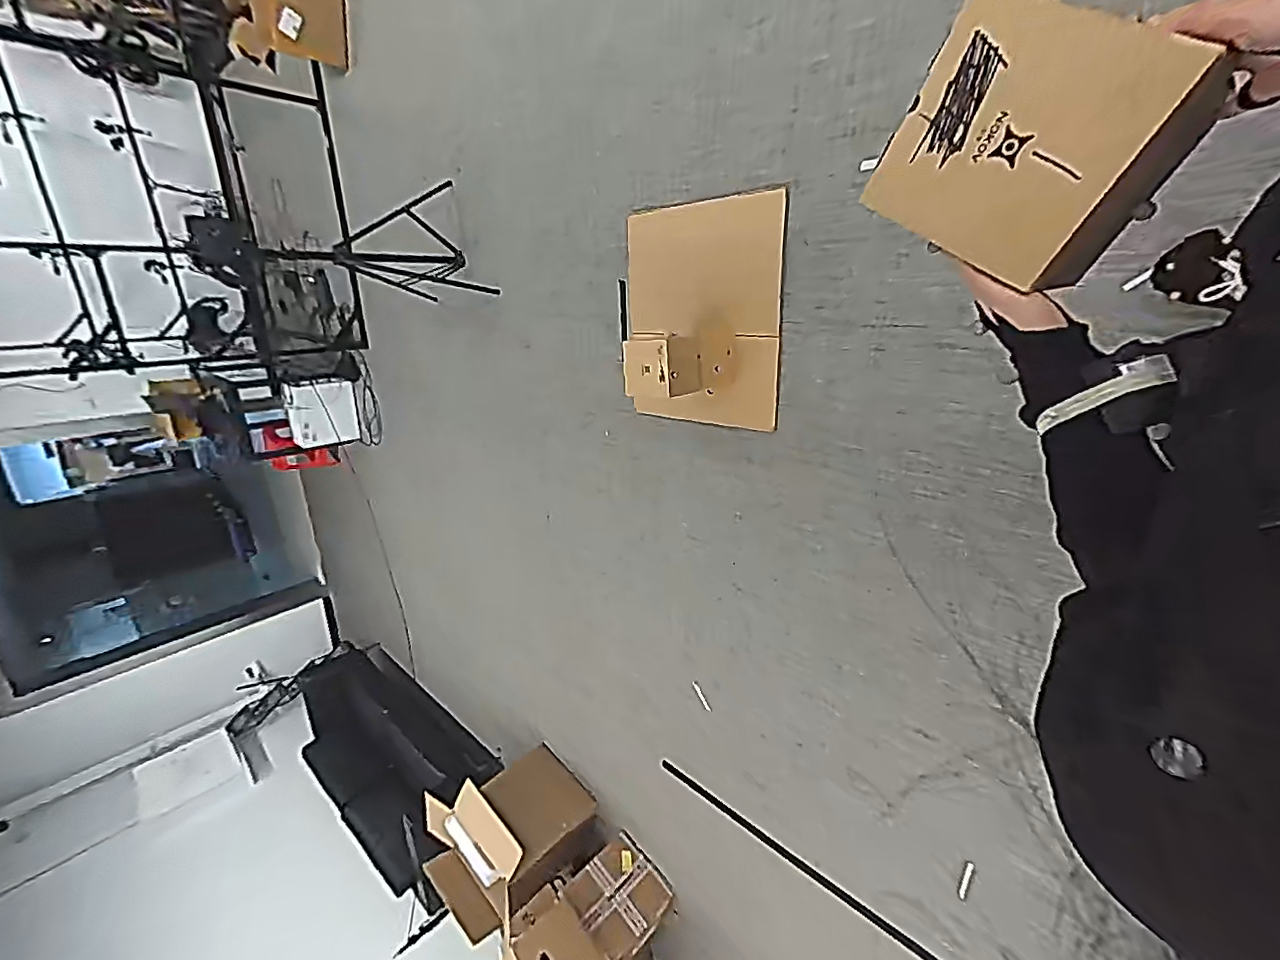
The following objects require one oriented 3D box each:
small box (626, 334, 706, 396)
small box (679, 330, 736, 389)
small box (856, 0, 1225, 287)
[{"bbox_3d":[0.079,-0.347,1.619,0.179,0.176,0.168,11,113,43],"label":"small box"},{"bbox_3d":[0.193,-0.389,1.730,0.179,0.176,0.168,12,113,42],"label":"small box"},{"bbox_3d":[0.338,-0.287,0.471,0.179,0.176,0.168,47,137,26],"label":"small box"}]
